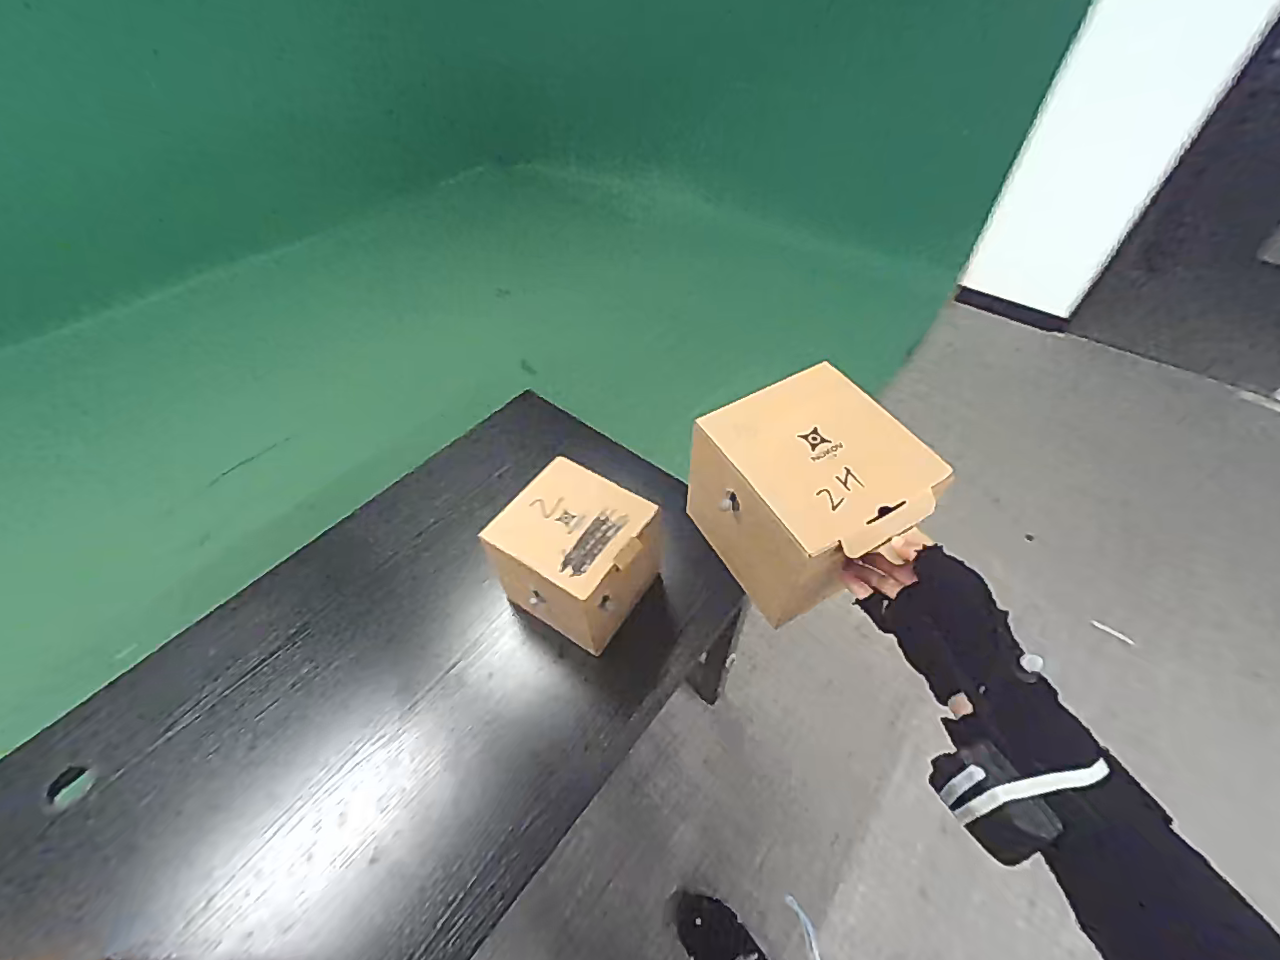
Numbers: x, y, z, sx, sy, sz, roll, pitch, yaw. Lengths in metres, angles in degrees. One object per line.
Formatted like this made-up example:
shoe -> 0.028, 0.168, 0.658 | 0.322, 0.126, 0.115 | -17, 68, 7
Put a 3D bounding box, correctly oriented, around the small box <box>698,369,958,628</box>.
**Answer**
small box -> 0.173, 0.022, 0.565 | 0.168, 0.176, 0.179 | -24, 57, -15
